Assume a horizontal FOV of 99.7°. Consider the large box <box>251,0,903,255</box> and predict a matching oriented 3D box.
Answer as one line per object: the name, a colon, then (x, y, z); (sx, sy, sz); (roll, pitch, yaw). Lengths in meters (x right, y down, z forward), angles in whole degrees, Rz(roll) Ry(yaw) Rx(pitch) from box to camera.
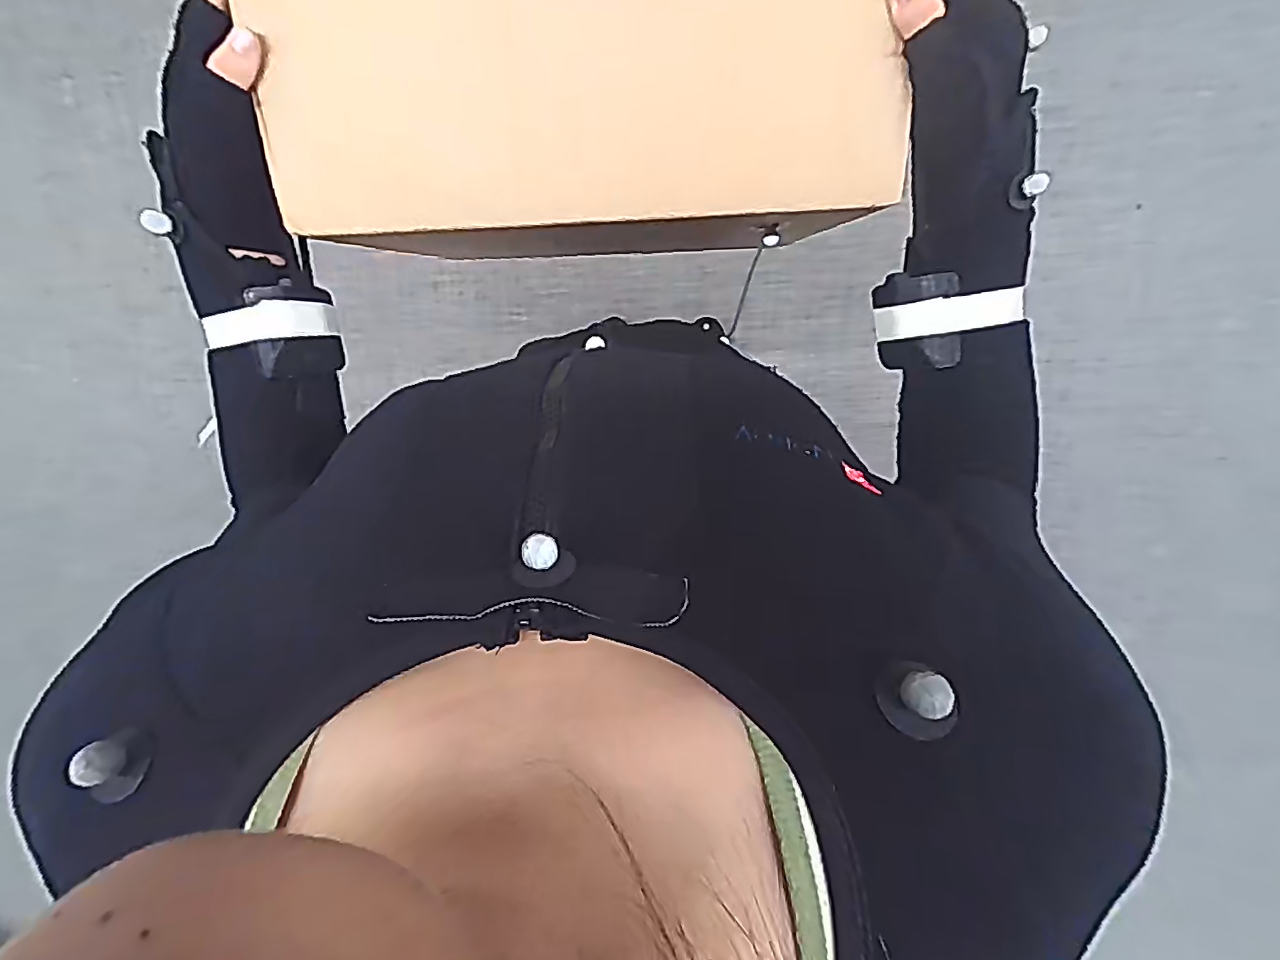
large box: (-0.035, -0.372, 0.457); (0.408, 0.320, 0.320); (-2, 109, 2)
